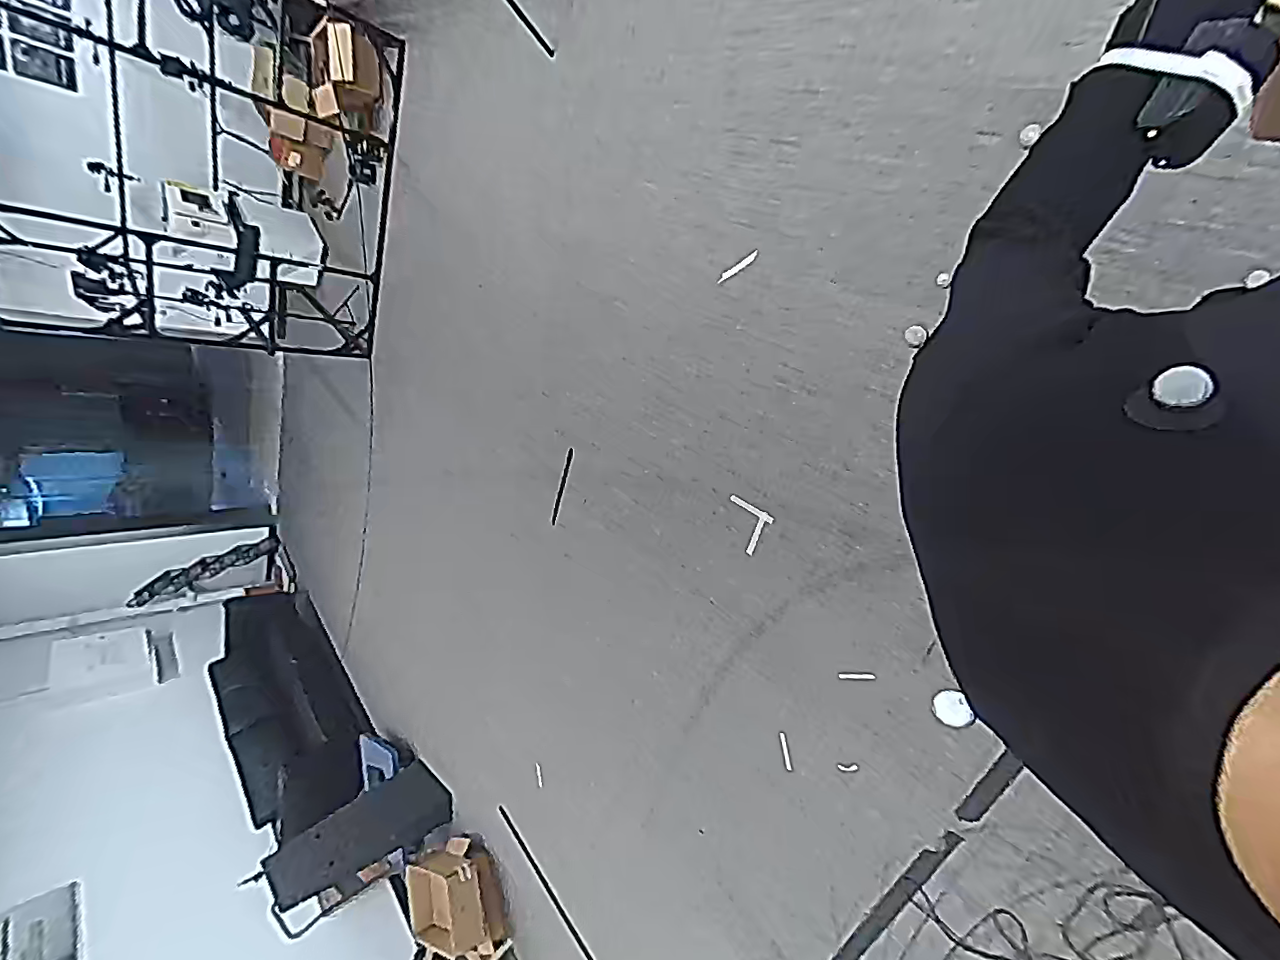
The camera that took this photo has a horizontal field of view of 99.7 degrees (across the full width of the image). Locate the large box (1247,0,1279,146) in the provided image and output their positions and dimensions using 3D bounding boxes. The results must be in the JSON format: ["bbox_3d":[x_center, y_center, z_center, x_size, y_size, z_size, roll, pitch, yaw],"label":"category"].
[{"bbox_3d":[0.664,-0.363,0.264,0.408,0.320,0.320,35,124,37],"label":"large box"}]
